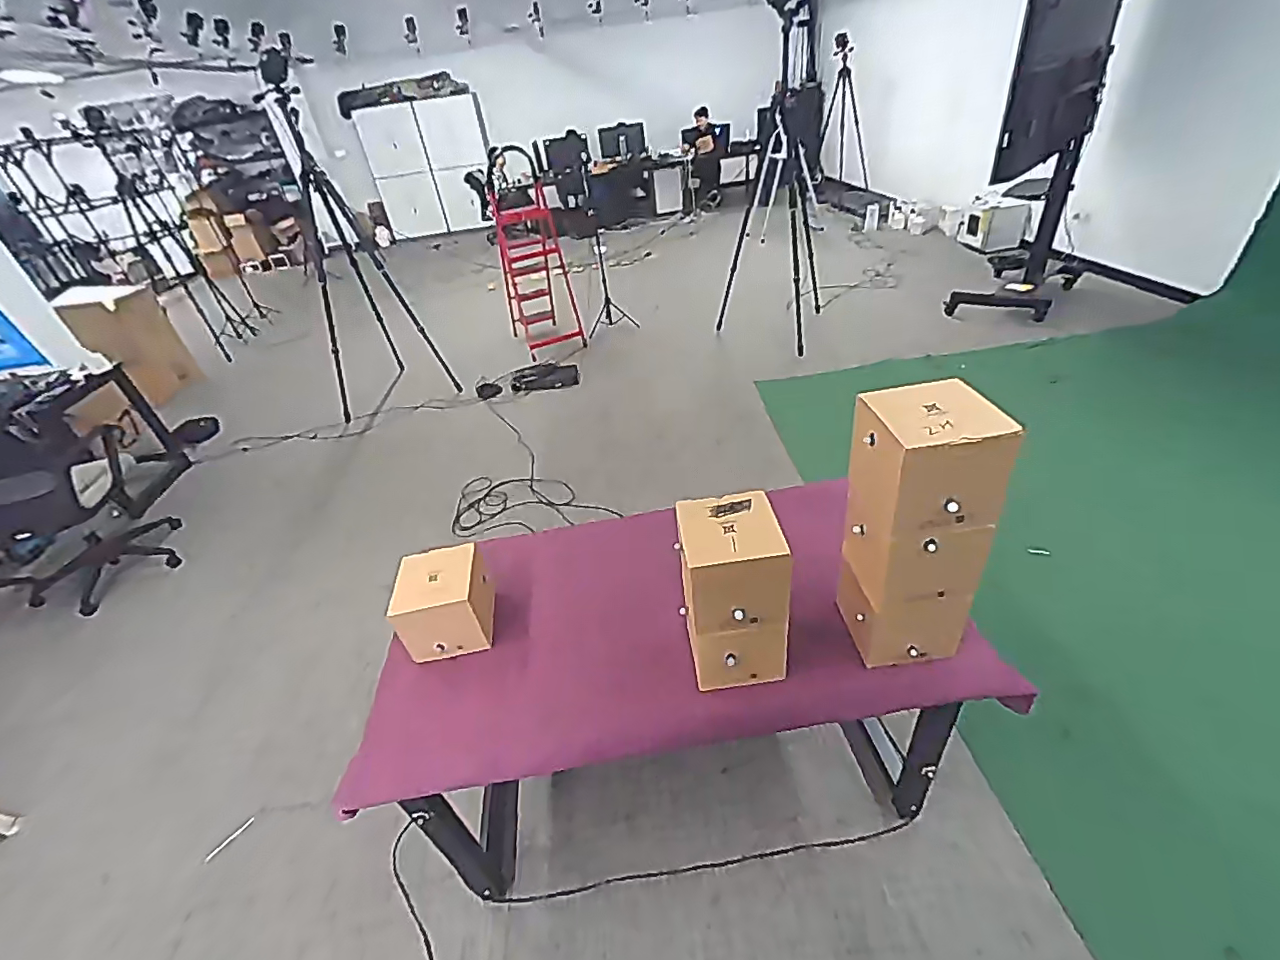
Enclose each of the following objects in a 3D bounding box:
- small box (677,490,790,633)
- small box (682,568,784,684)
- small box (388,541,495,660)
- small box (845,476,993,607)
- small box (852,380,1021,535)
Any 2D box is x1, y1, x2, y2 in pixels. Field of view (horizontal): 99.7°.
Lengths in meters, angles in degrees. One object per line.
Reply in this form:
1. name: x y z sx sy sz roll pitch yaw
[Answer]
1. small box: 0.160 0.143 0.961 0.168 0.176 0.179 -8 35 2
2. small box: 0.180 0.278 1.053 0.168 0.176 0.179 -9 35 1
3. small box: -0.427 0.266 1.195 0.168 0.176 0.179 -11 37 -3
4. small box: 0.474 0.097 0.951 0.168 0.176 0.179 -9 35 3
5. small box: 0.450 -0.038 0.858 0.168 0.176 0.179 -9 36 2
